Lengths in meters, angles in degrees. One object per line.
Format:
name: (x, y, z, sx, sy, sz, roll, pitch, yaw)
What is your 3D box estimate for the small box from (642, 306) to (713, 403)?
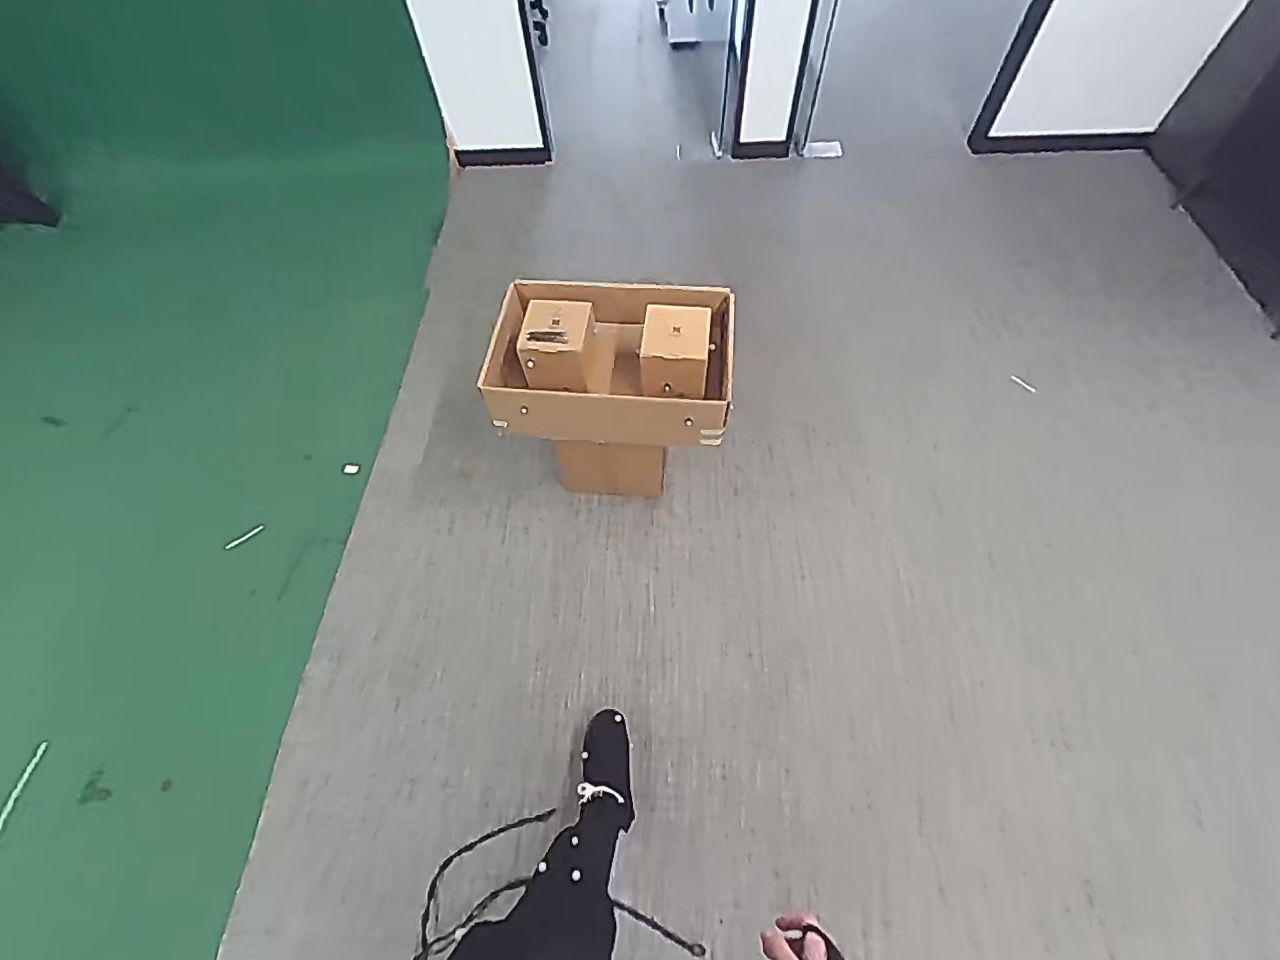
small box: (0.096, -0.325, 1.405, 0.168, 0.176, 0.179, 4, 61, 5)
